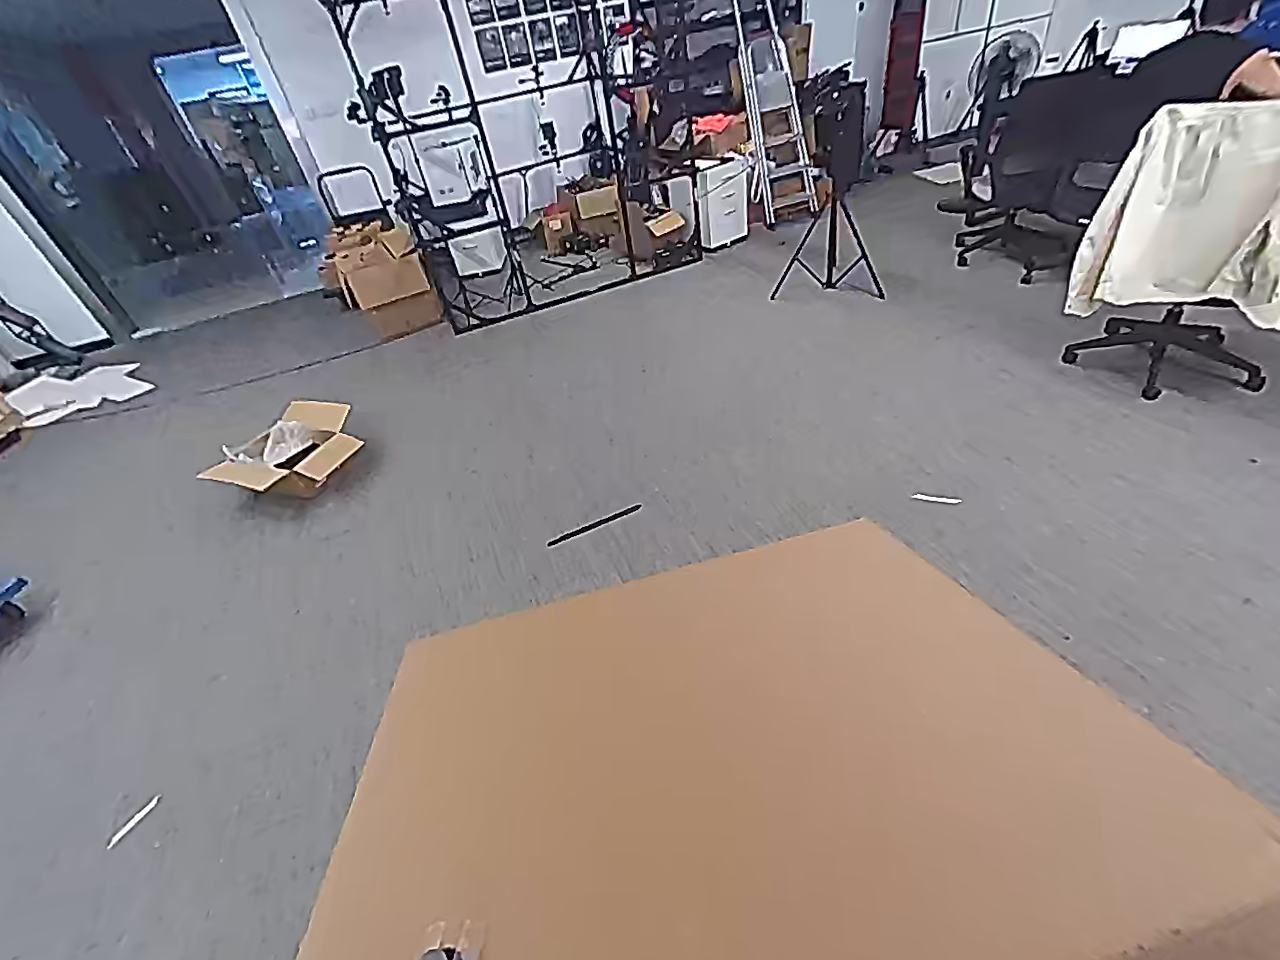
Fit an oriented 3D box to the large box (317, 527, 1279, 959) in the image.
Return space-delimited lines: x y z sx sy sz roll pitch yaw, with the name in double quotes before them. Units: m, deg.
"large box" 0.064 0.274 0.381 0.408 0.320 0.320 -15 22 -5
